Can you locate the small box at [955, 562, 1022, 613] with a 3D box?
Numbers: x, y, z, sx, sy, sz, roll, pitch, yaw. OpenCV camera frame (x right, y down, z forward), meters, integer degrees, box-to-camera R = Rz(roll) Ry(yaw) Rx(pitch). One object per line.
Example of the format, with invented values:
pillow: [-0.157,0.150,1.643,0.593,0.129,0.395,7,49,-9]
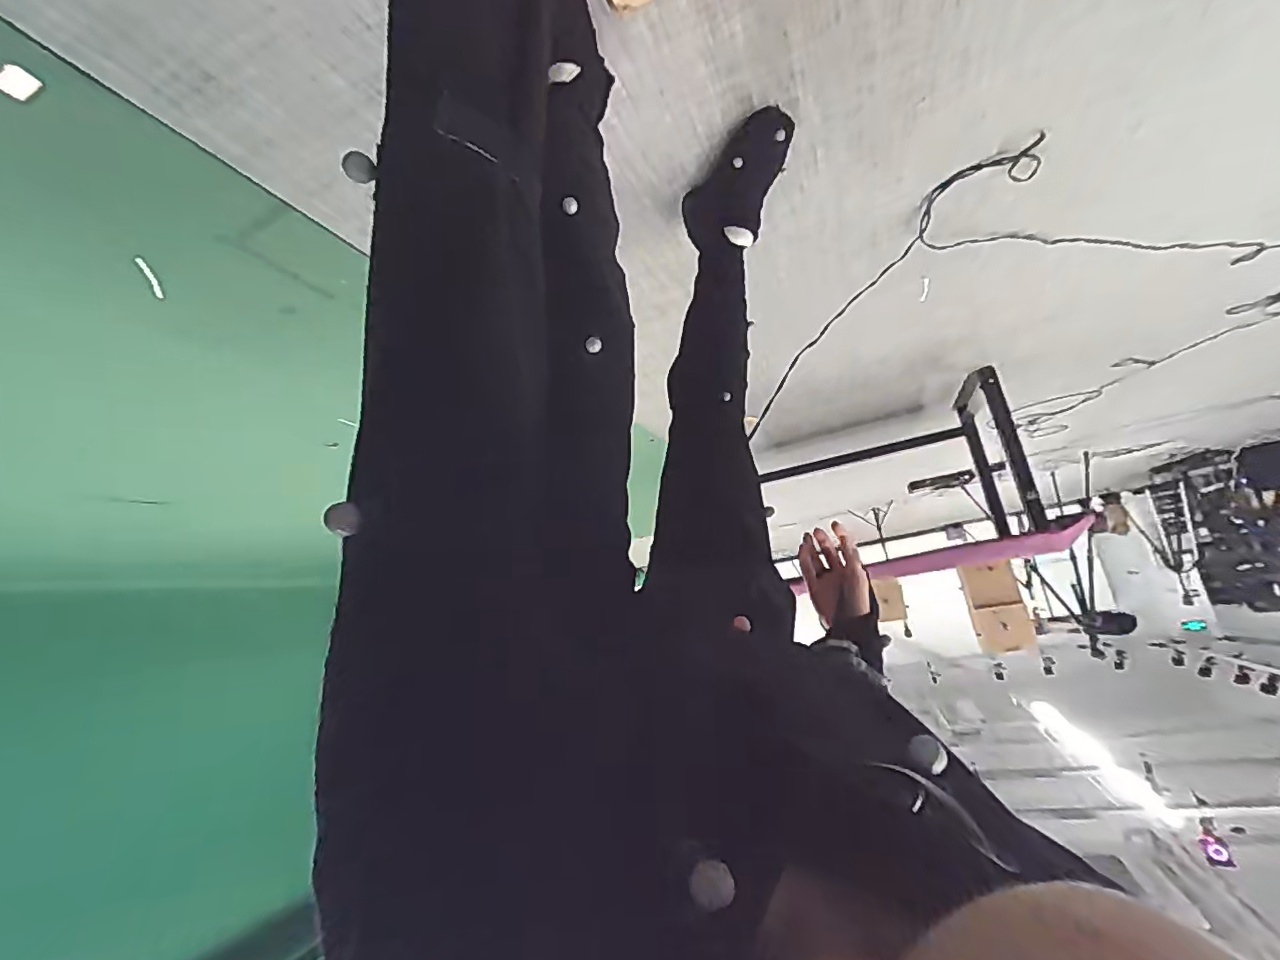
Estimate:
small box: [1.329,0.412,2.075,0.168,0.176,0.179,-15,164,21]

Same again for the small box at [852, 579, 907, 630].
small box: [0.973,0.504,2.203,0.168,0.176,0.179,-15,166,21]

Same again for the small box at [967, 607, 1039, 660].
small box: [1.350,0.567,2.025,0.168,0.176,0.179,-15,164,19]
